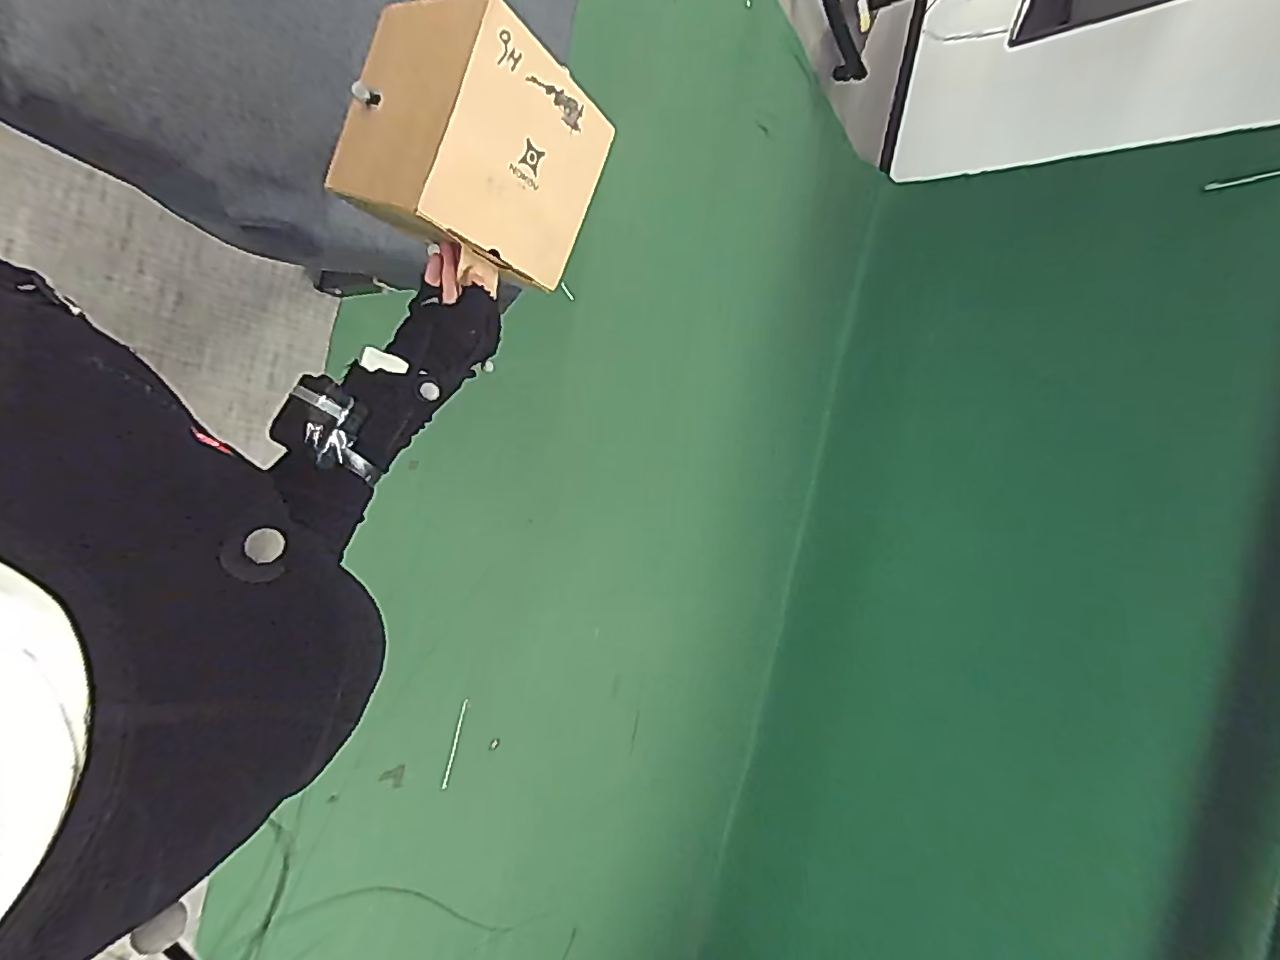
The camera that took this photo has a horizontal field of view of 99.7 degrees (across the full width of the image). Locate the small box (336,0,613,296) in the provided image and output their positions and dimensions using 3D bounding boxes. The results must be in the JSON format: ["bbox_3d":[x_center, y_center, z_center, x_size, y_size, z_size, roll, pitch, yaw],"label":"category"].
[{"bbox_3d":[-0.164,-0.313,0.530,0.168,0.176,0.179,11,105,-58],"label":"small box"}]
